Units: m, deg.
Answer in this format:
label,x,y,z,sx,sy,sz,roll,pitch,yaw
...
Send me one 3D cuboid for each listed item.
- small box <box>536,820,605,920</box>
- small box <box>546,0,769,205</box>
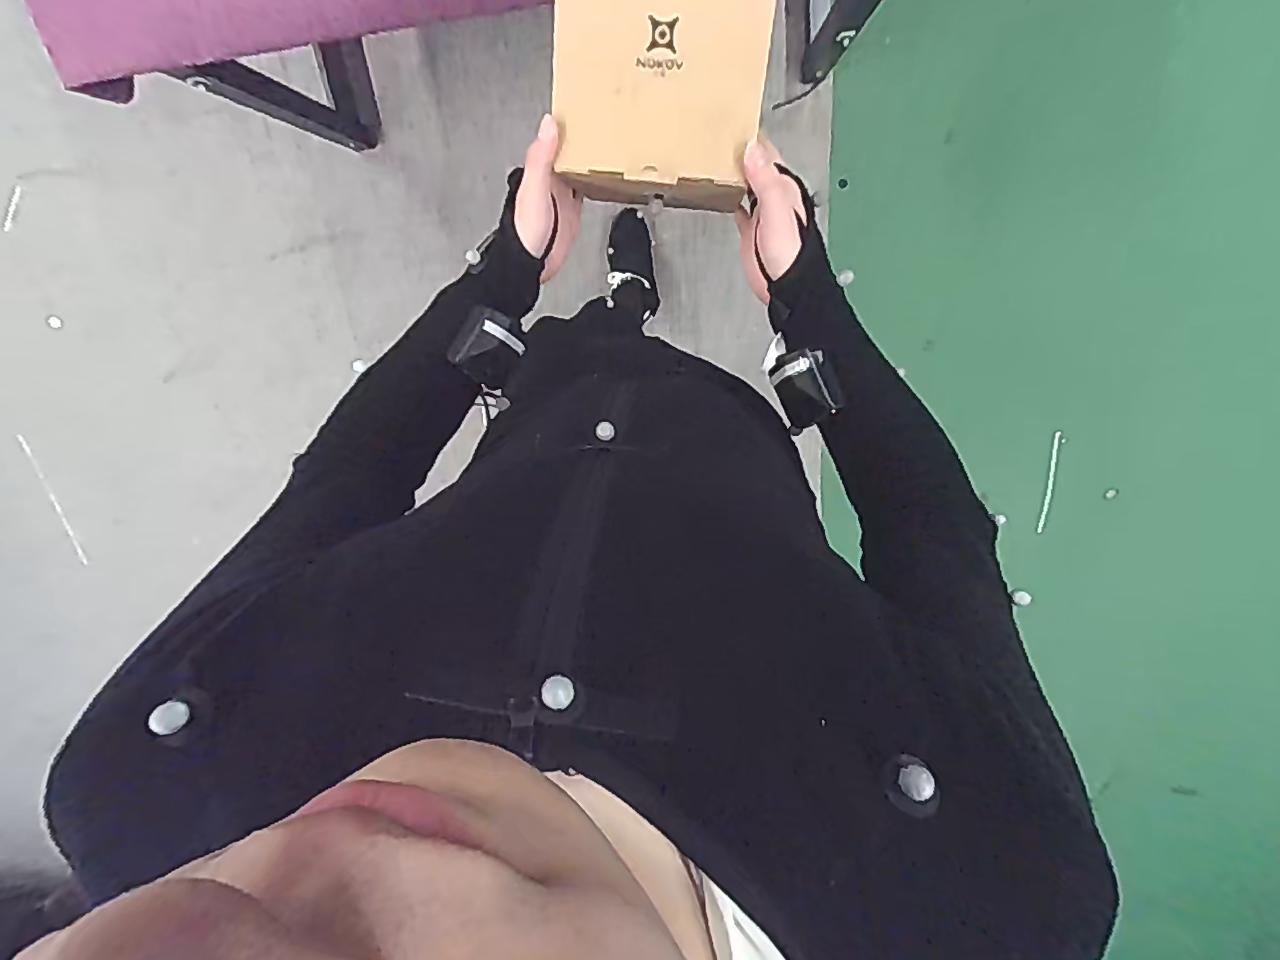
label,x,y,z,sx,sy,sz,roll,pitch,yaw
small box,-0.192,1.101,1.536,0.168,0.176,0.179,0,111,5
small box,0.019,-0.355,0.485,0.168,0.176,0.179,7,111,3
